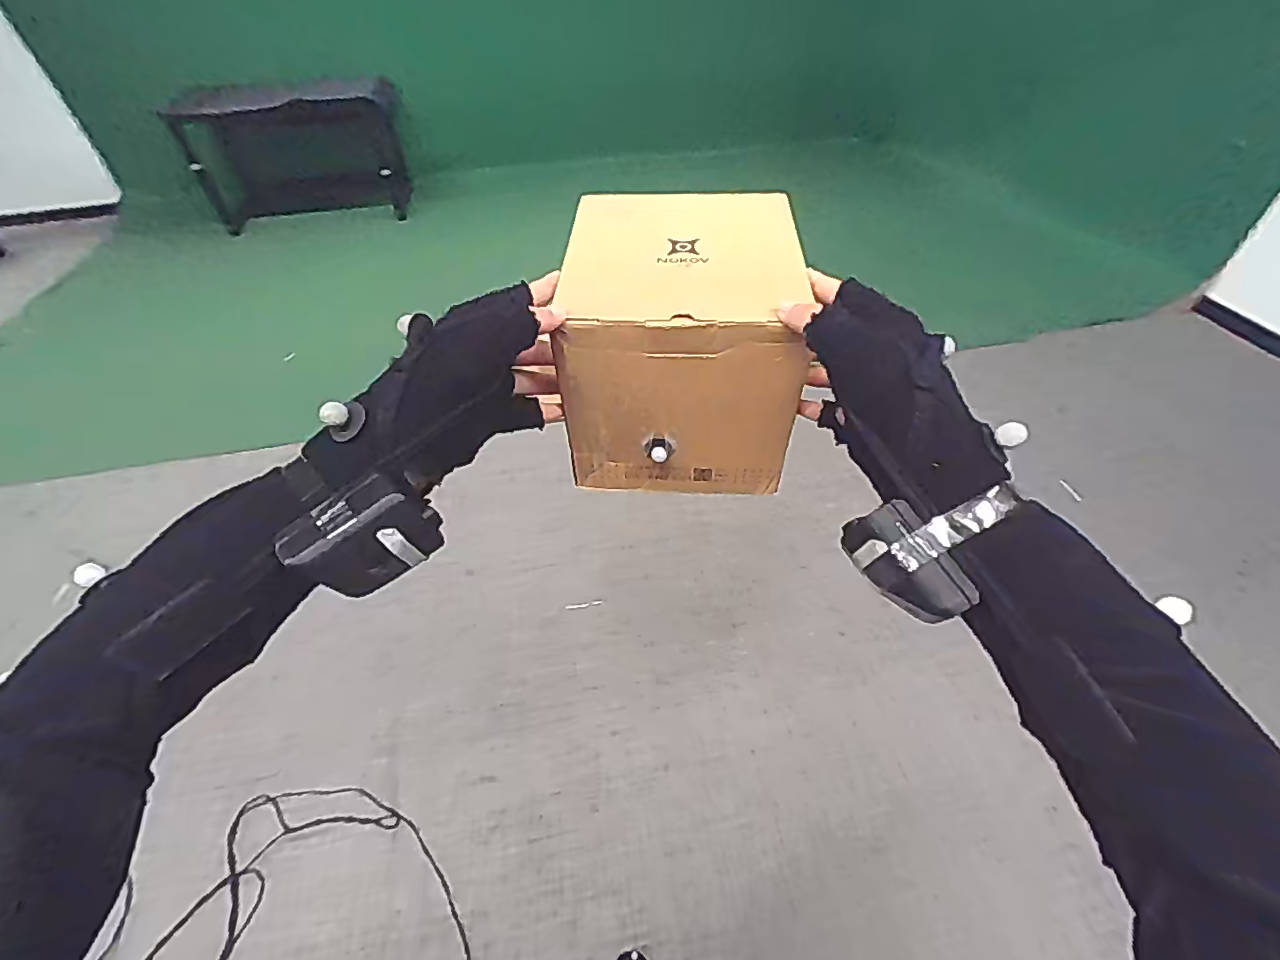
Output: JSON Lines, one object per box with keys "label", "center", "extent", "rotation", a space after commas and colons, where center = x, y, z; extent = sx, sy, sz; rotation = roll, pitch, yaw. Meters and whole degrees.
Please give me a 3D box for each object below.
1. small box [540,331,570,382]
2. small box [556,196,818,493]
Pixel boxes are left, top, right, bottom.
{"label": "small box", "center": [-0.358, -0.561, 2.465], "extent": [0.168, 0.176, 0.179], "rotation": [-7, 45, -2]}
{"label": "small box", "center": [0.033, -0.110, 0.447], "extent": [0.168, 0.176, 0.179], "rotation": [1, 51, 3]}
